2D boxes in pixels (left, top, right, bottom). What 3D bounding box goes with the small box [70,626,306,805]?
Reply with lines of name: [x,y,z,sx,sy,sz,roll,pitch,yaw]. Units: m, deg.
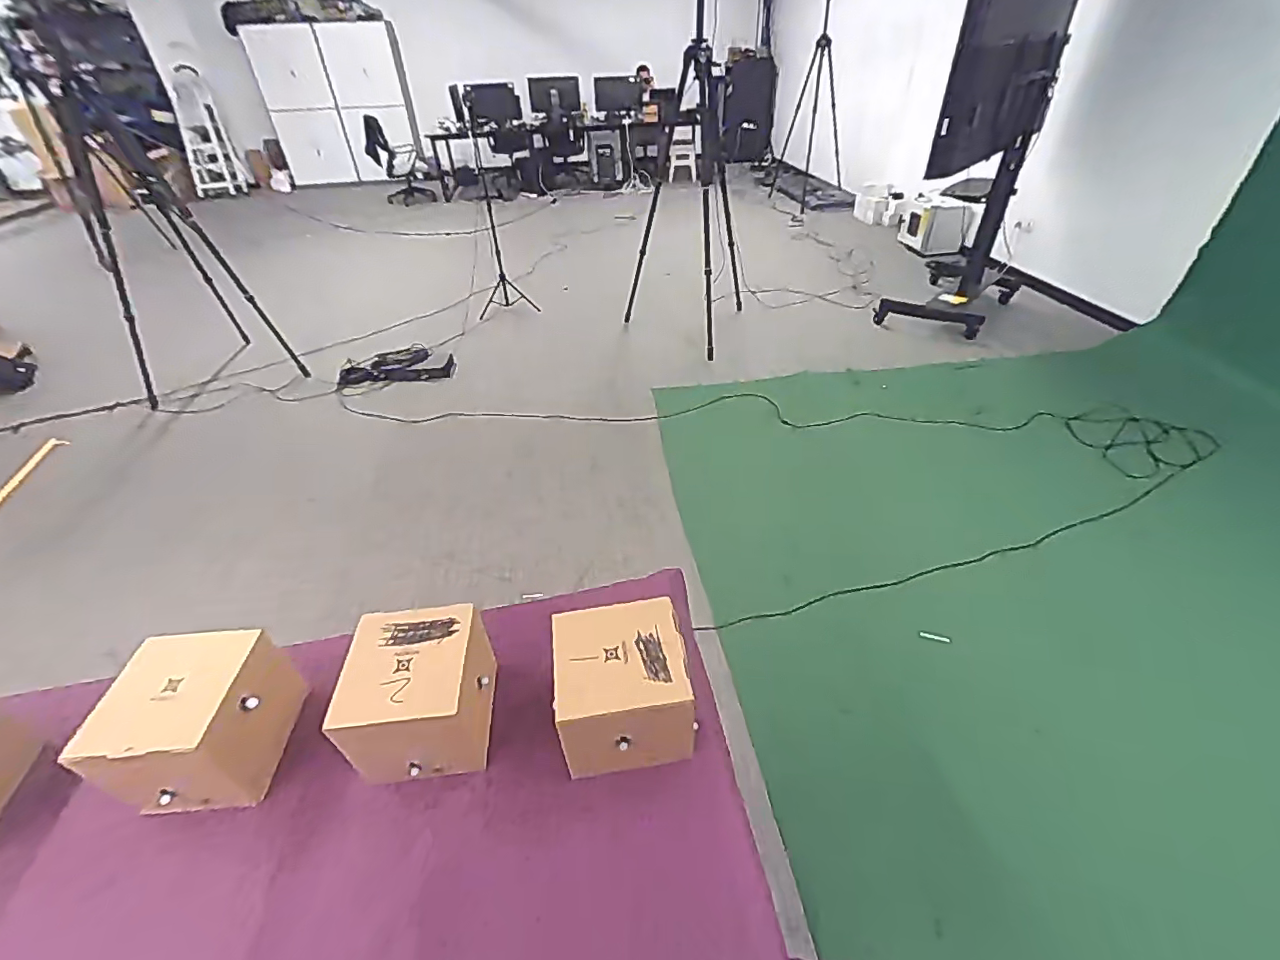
small box: [-0.616,0.334,0.773,0.168,0.176,0.179,-4,40,-1]

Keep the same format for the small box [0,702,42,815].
small box: [-0.973,0.397,0.713,0.168,0.176,0.179,-9,40,-7]

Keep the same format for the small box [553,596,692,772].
small box: [-0.026,0.294,0.780,0.179,0.176,0.168,-8,39,-4]
